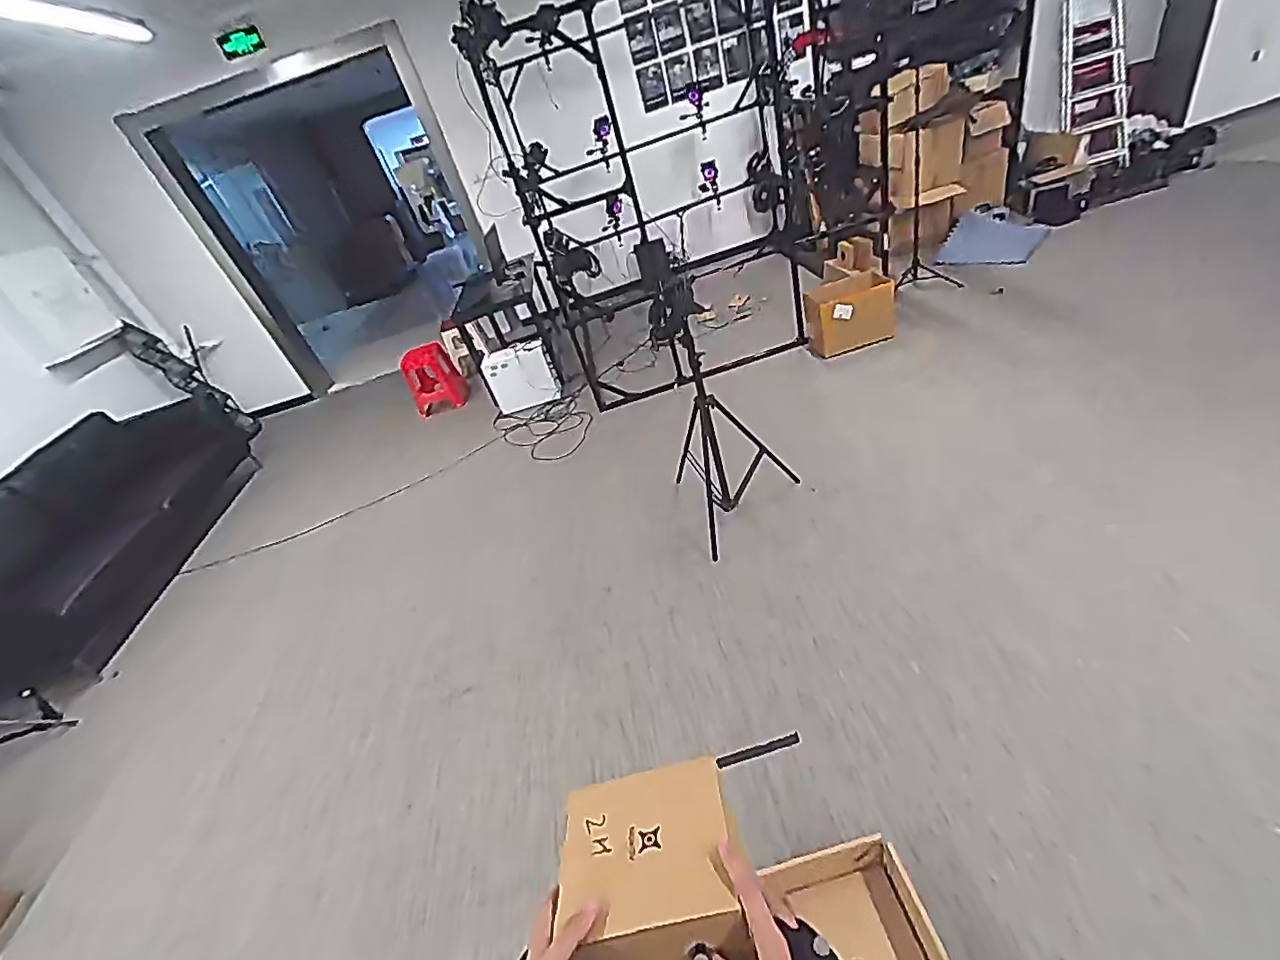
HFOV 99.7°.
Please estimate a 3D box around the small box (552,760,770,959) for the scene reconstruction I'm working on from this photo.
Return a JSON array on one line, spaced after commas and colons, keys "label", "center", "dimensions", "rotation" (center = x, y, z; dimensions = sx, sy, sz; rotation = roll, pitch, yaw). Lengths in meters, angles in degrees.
[{"label": "small box", "center": [0.030, 0.434, 0.560], "dimensions": [0.179, 0.176, 0.168], "rotation": [-17, 17, 6]}]
